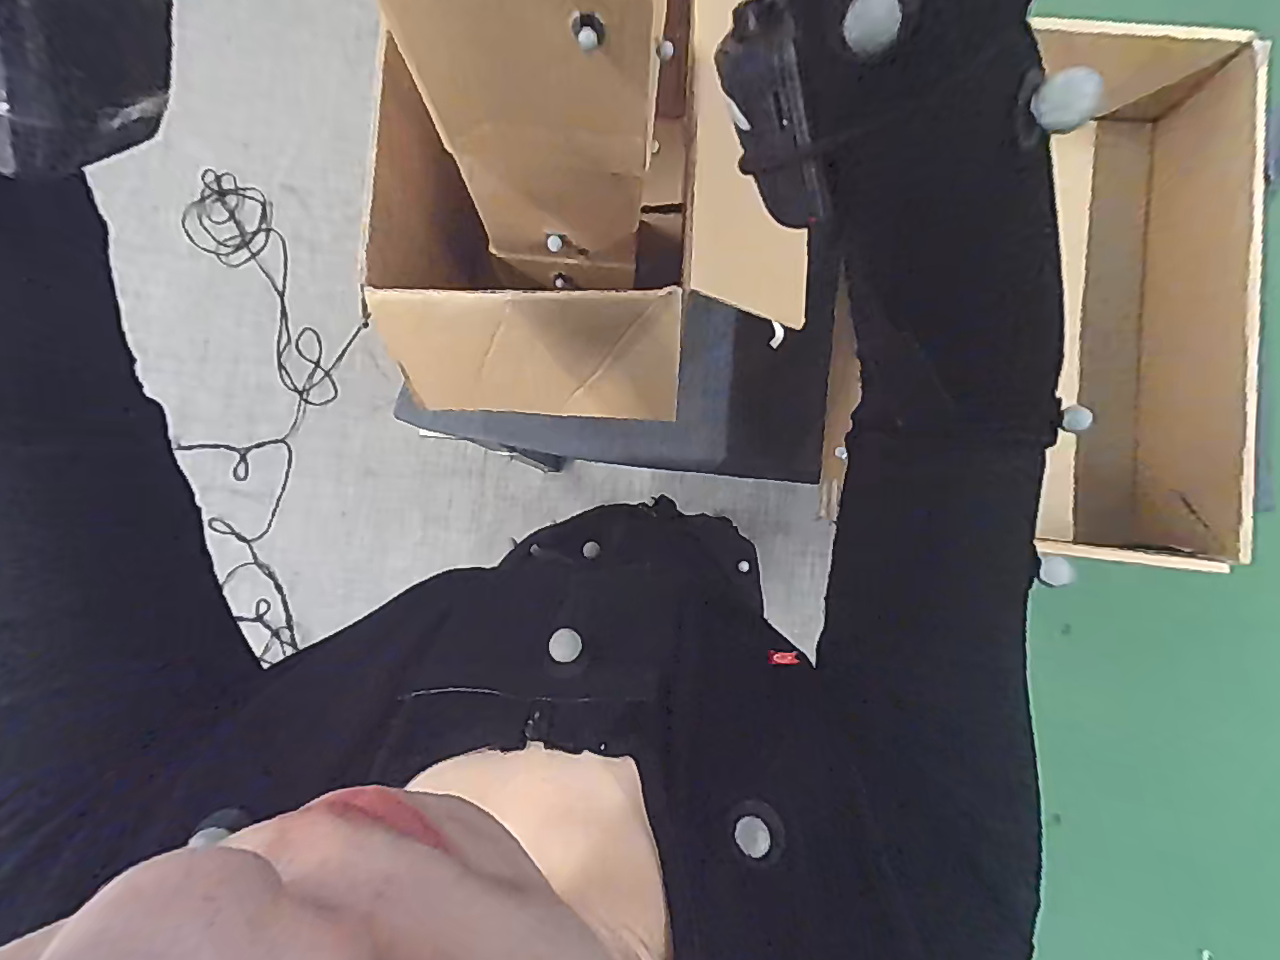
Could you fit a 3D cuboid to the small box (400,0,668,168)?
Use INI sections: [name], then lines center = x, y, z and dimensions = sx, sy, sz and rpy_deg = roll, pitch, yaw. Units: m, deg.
[small box]
center = -0.068, -0.363, 0.398
dimensions = 0.179, 0.176, 0.168
rpy_deg = 6, 85, -3
